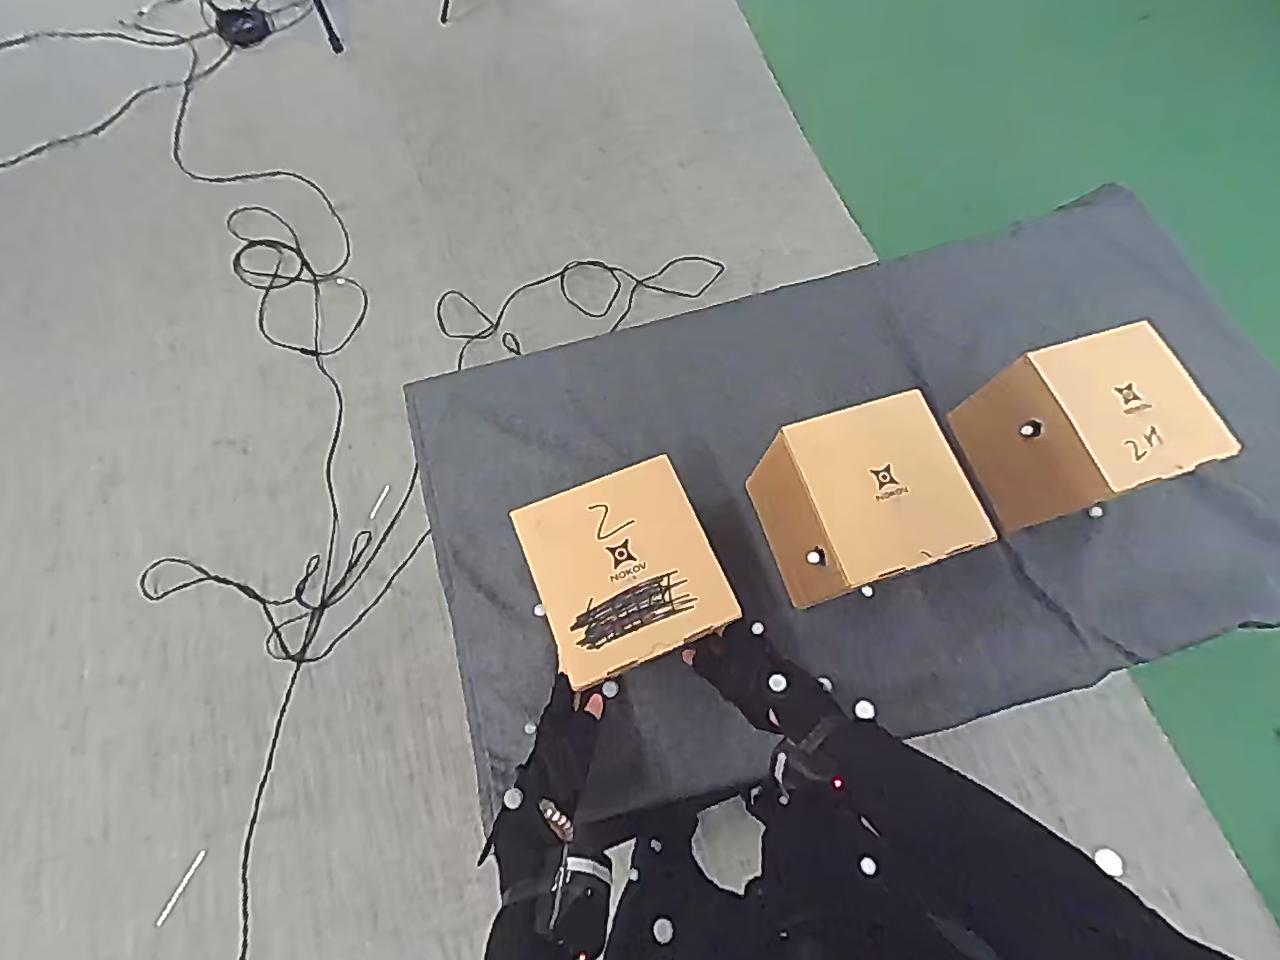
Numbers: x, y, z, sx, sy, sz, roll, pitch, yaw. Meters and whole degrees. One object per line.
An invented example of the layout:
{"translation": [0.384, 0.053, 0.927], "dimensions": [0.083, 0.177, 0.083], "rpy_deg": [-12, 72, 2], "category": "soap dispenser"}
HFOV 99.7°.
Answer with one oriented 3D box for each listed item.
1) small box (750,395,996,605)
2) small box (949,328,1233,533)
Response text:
{"translation": [0.246, 0.031, 0.623], "dimensions": [0.168, 0.176, 0.179], "rpy_deg": [-16, 73, -9], "category": "small box"}
{"translation": [0.529, -0.053, 0.667], "dimensions": [0.168, 0.176, 0.179], "rpy_deg": [-15, 72, -8], "category": "small box"}
